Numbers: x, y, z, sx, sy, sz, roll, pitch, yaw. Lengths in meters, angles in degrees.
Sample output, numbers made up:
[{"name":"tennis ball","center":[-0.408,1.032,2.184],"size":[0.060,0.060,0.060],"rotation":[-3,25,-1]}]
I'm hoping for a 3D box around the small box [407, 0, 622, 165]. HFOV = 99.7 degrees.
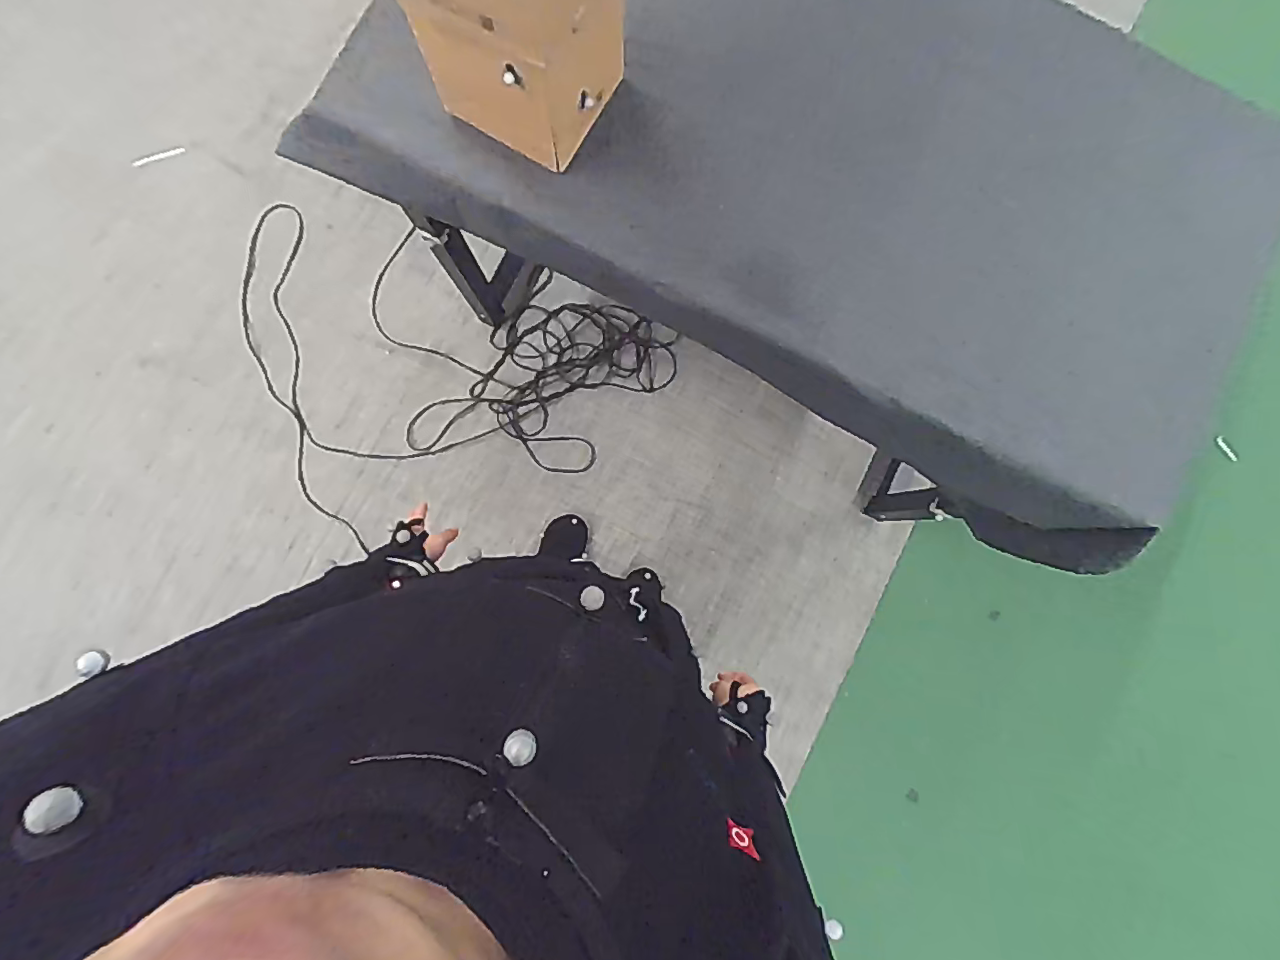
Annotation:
[{"name":"small box","center":[-0.134,-0.510,0.622],"size":[0.179,0.176,0.168],"rotation":[29,84,1]}]
